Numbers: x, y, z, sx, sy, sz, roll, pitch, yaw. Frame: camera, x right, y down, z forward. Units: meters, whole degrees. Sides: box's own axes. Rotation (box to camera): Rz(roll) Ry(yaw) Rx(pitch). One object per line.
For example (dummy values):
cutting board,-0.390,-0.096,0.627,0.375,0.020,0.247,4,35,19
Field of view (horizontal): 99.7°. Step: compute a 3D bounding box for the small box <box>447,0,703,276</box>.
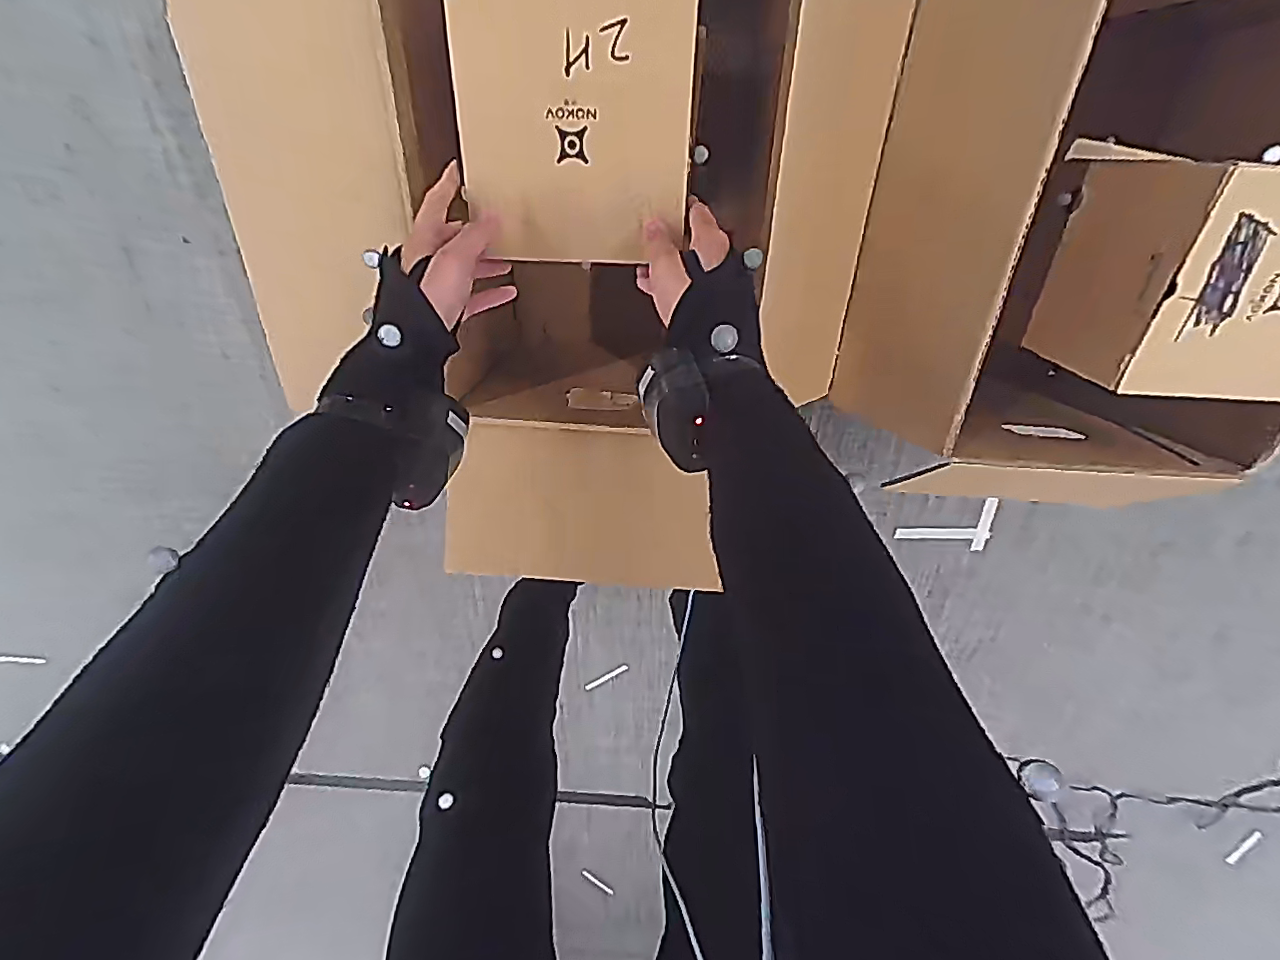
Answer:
small box,-0.039,-0.277,0.446,0.168,0.176,0.179,3,119,2
